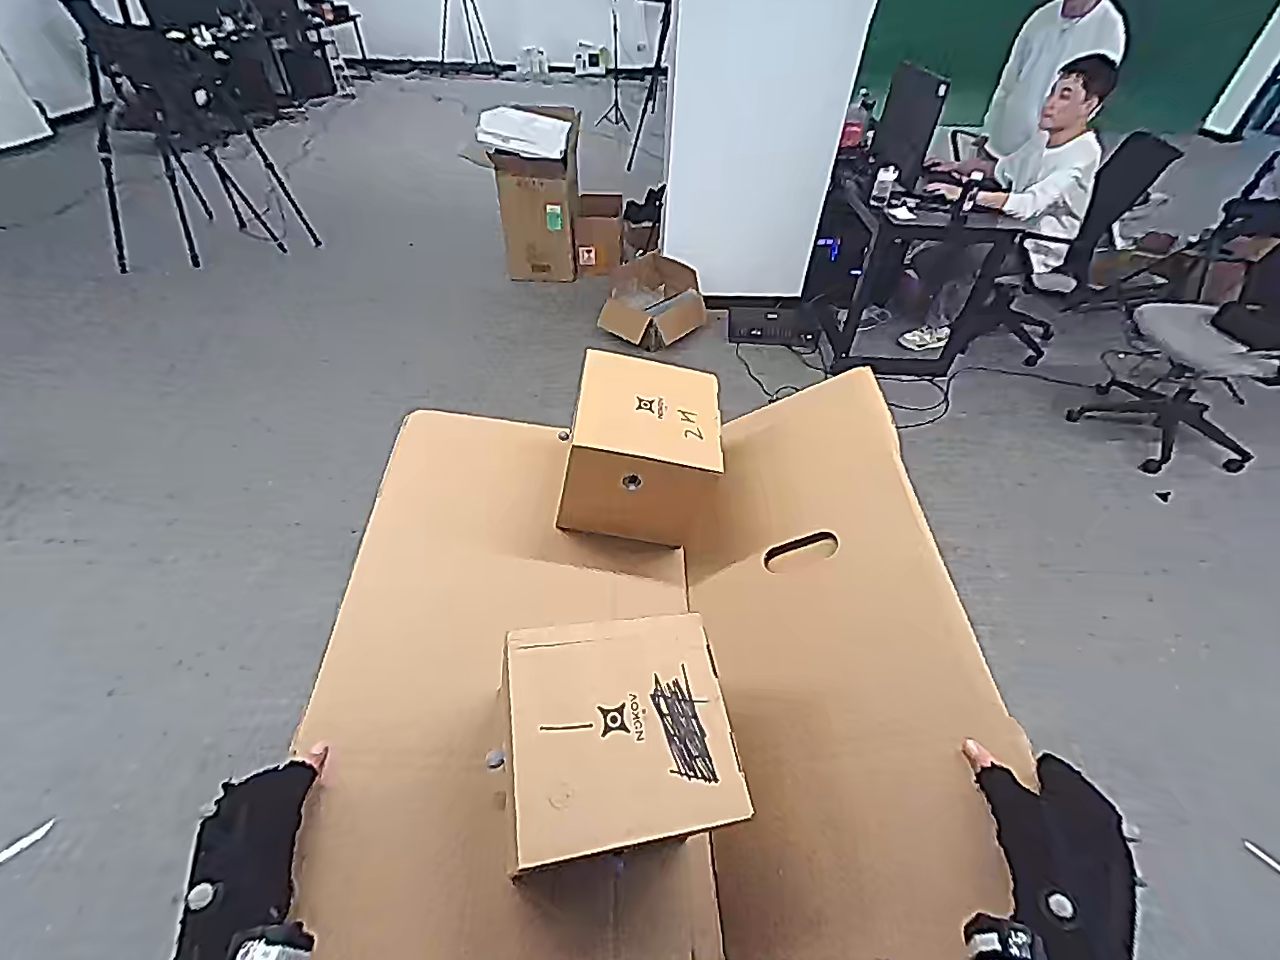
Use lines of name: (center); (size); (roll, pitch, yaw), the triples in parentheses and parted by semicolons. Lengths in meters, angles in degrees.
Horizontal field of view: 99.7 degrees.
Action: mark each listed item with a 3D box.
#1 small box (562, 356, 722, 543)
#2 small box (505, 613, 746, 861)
small box: (-0.002, -0.034, 0.720); (0.179, 0.176, 0.168); (12, 51, -8)
small box: (-0.030, 0.237, 0.500); (0.179, 0.176, 0.168); (-1, 54, -16)
